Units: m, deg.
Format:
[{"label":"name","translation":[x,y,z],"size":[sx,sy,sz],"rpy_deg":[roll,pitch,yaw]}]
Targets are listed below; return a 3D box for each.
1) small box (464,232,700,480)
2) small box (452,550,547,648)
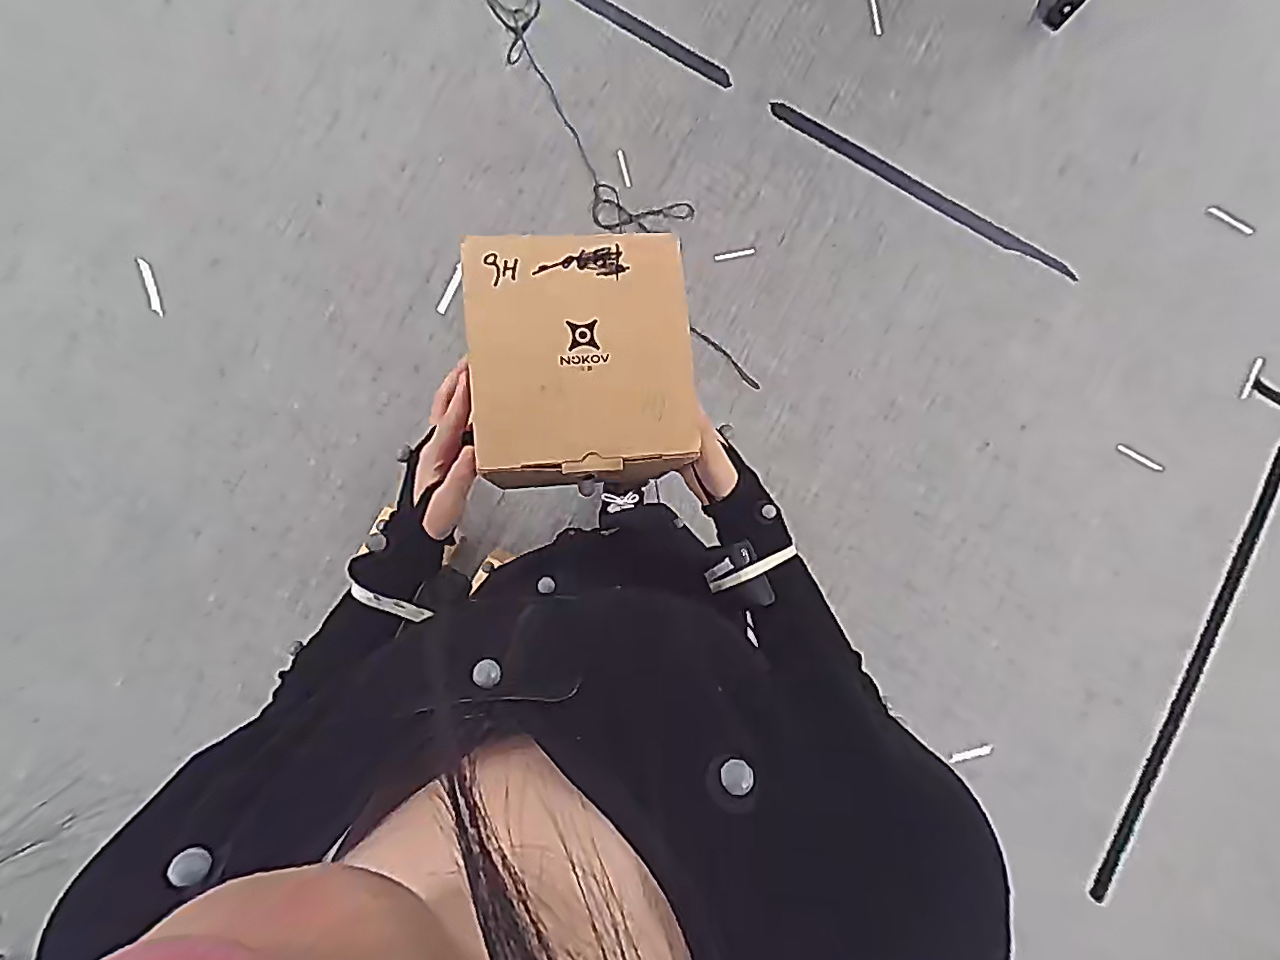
[{"label":"small box","translation":[-0.052,-0.092,0.473],"size":[0.168,0.176,0.179],"rpy_deg":[-4,87,-9]},{"label":"small box","translation":[-0.352,0.298,1.396],"size":[0.168,0.176,0.179],"rpy_deg":[30,86,-3]}]
